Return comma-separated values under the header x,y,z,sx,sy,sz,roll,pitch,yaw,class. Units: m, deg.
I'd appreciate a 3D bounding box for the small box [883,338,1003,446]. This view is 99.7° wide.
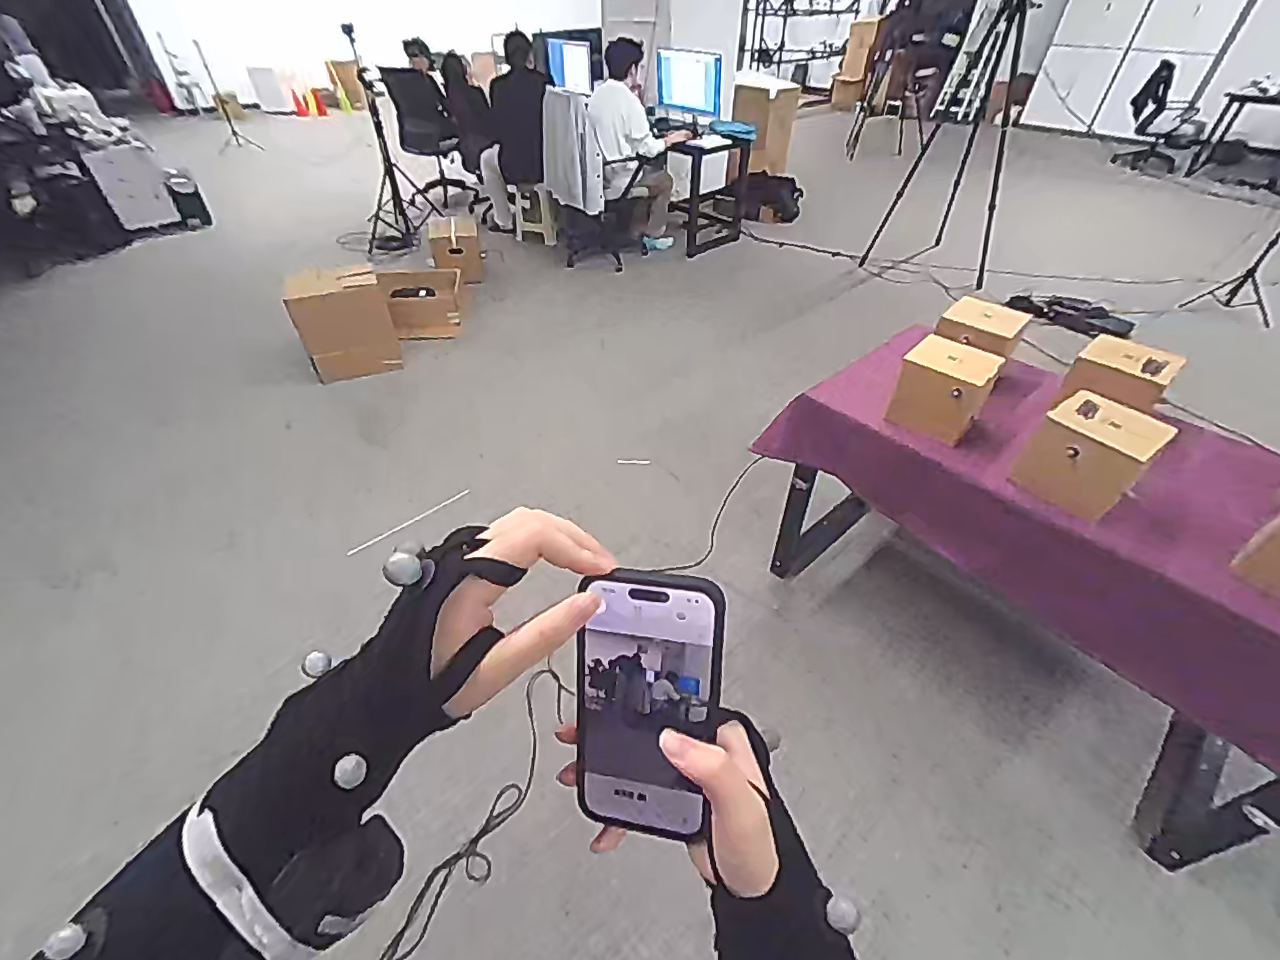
x,y,z,sx,sy,sz,roll,pitch,yaw,class
0.711,-0.208,1.285,0.179,0.176,0.168,33,51,29,small box

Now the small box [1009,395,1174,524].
x,y,z,sx,sy,sz,roll,pitch,yaw,class
0.906,-0.042,1.103,0.168,0.176,0.179,-25,49,-26,small box

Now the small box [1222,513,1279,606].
x,y,z,sx,sy,sz,roll,pitch,yaw,class
1.174,0.132,0.915,0.168,0.176,0.179,-24,48,-25,small box
